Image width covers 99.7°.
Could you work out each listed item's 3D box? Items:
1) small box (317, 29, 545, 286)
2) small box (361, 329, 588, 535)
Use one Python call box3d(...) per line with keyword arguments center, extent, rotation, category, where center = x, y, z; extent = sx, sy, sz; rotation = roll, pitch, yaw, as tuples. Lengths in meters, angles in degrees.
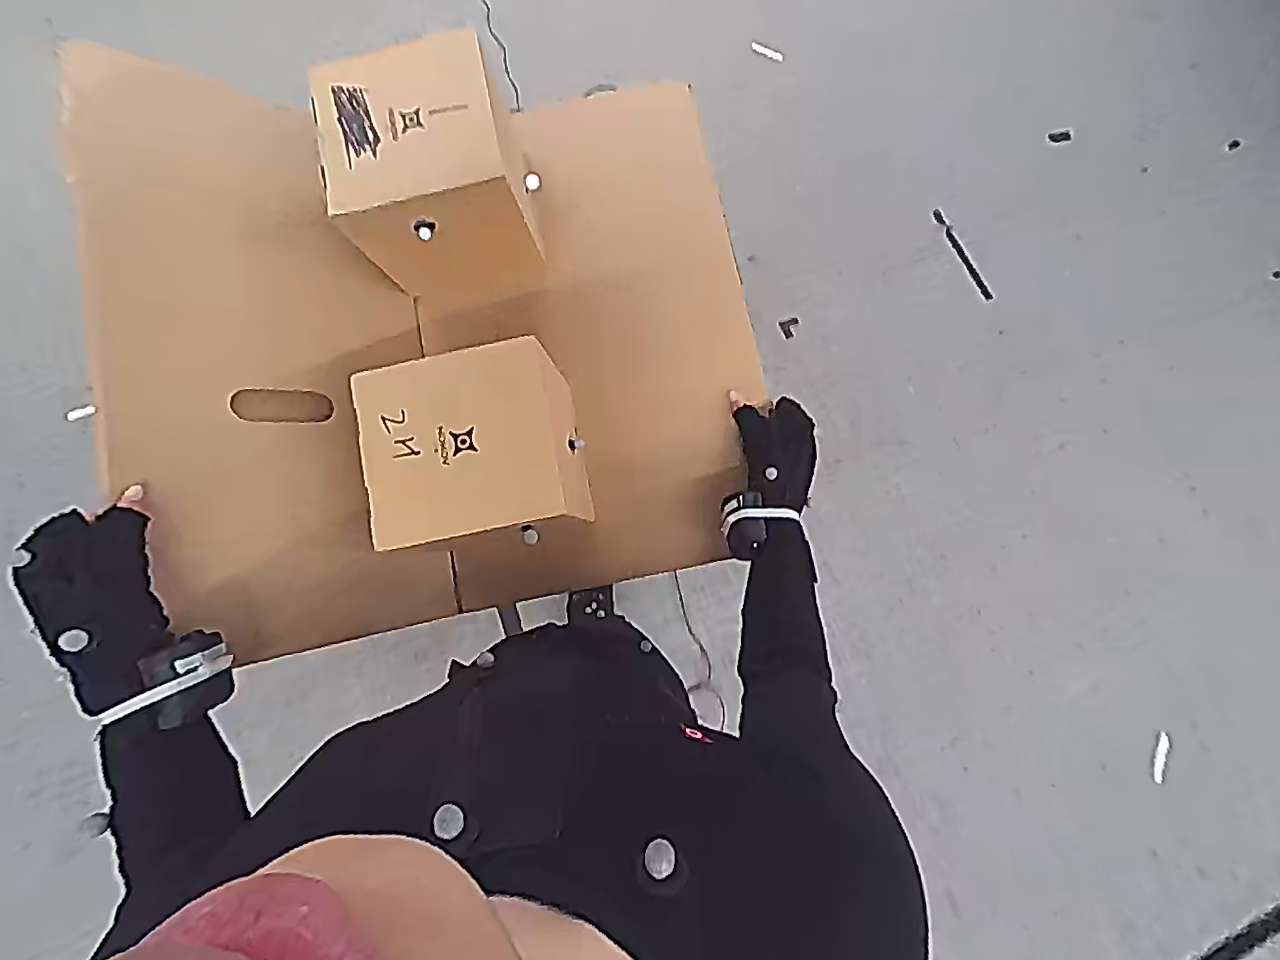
box3d(center=(-0.223, -0.345, 0.613), extent=(0.179, 0.176, 0.168), rotation=(-13, 82, 2), category="small box")
box3d(center=(-0.157, -0.037, 0.571), extent=(0.179, 0.176, 0.168), rotation=(-11, 82, 3), category="small box")
